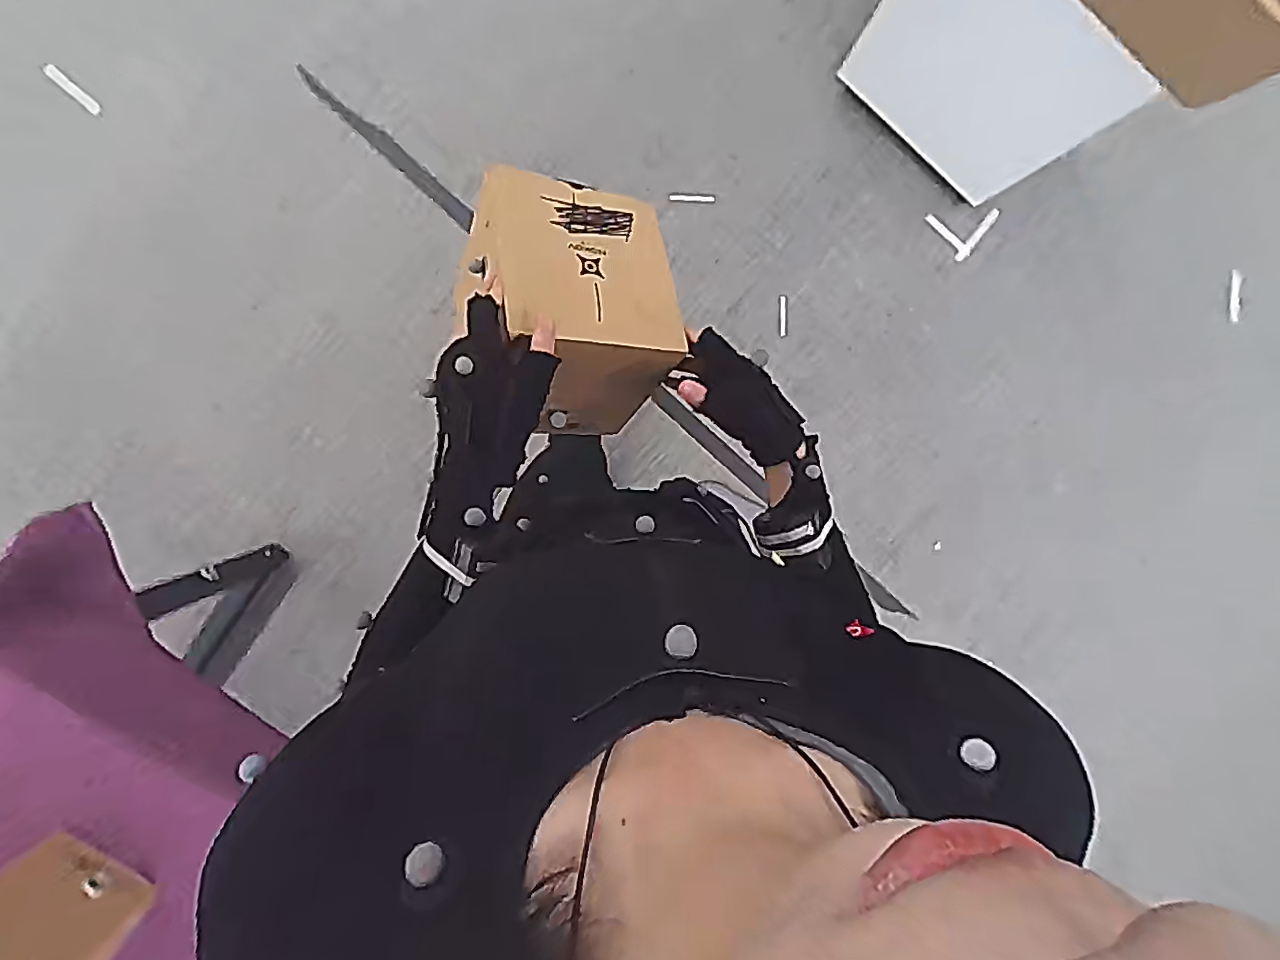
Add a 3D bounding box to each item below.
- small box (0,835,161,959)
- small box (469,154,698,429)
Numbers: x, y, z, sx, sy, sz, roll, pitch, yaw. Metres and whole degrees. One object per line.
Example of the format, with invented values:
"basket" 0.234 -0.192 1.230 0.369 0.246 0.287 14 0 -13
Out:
"small box" -0.796 0.624 0.704 0.168 0.176 0.179 35 92 -7
"small box" -0.069 -0.169 0.537 0.168 0.176 0.179 0 69 -28
